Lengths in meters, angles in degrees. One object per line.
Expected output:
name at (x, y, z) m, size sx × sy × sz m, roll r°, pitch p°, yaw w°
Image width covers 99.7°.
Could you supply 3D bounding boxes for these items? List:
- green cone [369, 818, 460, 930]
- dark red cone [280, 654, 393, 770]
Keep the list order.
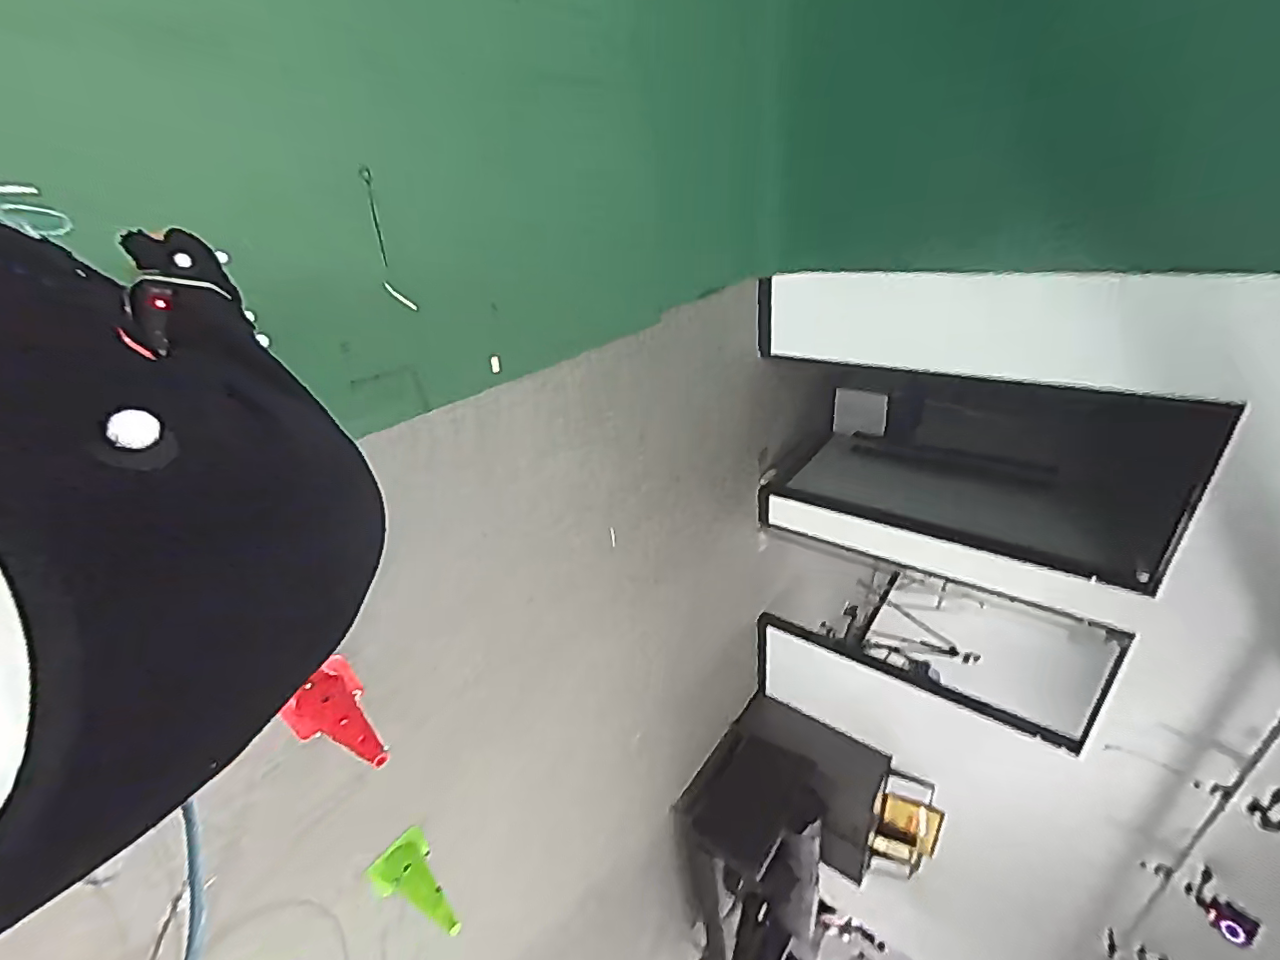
green cone at (-0.743, 1.410, 1.883) m, size 0.202 × 0.368 × 0.200 m, roll -35°, pitch 130°, yaw -39°
dark red cone at (-0.786, 0.667, 1.479) m, size 0.202 × 0.394 × 0.201 m, roll -40°, pitch 132°, yaw -37°
